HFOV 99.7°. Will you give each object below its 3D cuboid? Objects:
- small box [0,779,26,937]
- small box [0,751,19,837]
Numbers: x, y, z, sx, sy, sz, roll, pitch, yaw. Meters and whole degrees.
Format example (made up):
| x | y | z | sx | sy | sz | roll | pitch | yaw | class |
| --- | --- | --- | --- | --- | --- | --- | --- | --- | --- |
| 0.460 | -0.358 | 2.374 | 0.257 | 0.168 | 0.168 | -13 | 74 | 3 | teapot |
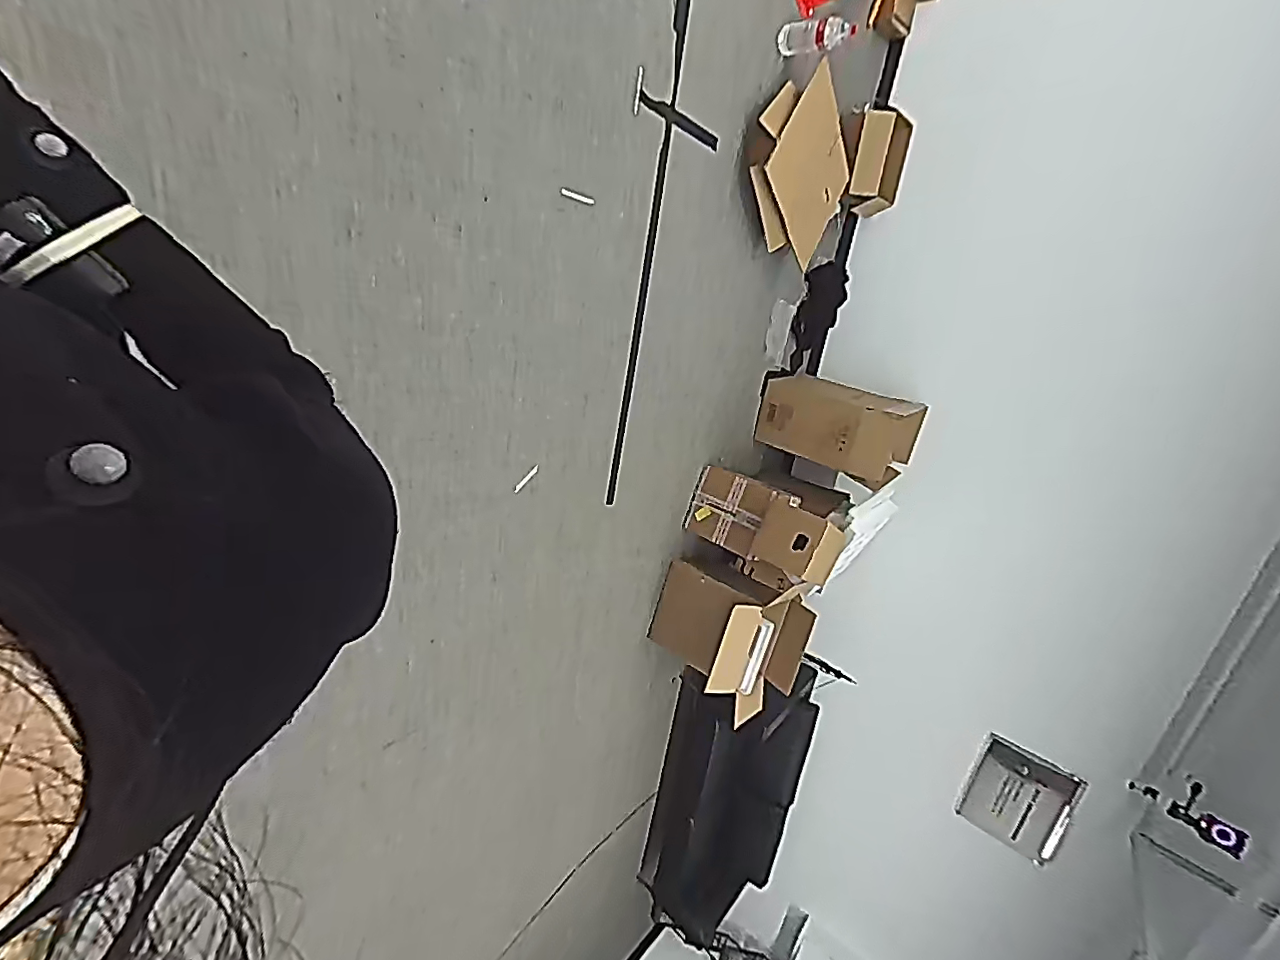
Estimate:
| x | y | z | sx | sy | sz | roll | pitch | yaw | class |
| --- | --- | --- | --- | --- | --- | --- | --- | --- | --- |
| -0.950 | 0.521 | 0.711 | 0.168 | 0.176 | 0.179 | -14 | 118 | -50 | small box |
| -1.078 | 0.479 | 0.802 | 0.179 | 0.176 | 0.168 | -14 | 118 | -48 | small box |
